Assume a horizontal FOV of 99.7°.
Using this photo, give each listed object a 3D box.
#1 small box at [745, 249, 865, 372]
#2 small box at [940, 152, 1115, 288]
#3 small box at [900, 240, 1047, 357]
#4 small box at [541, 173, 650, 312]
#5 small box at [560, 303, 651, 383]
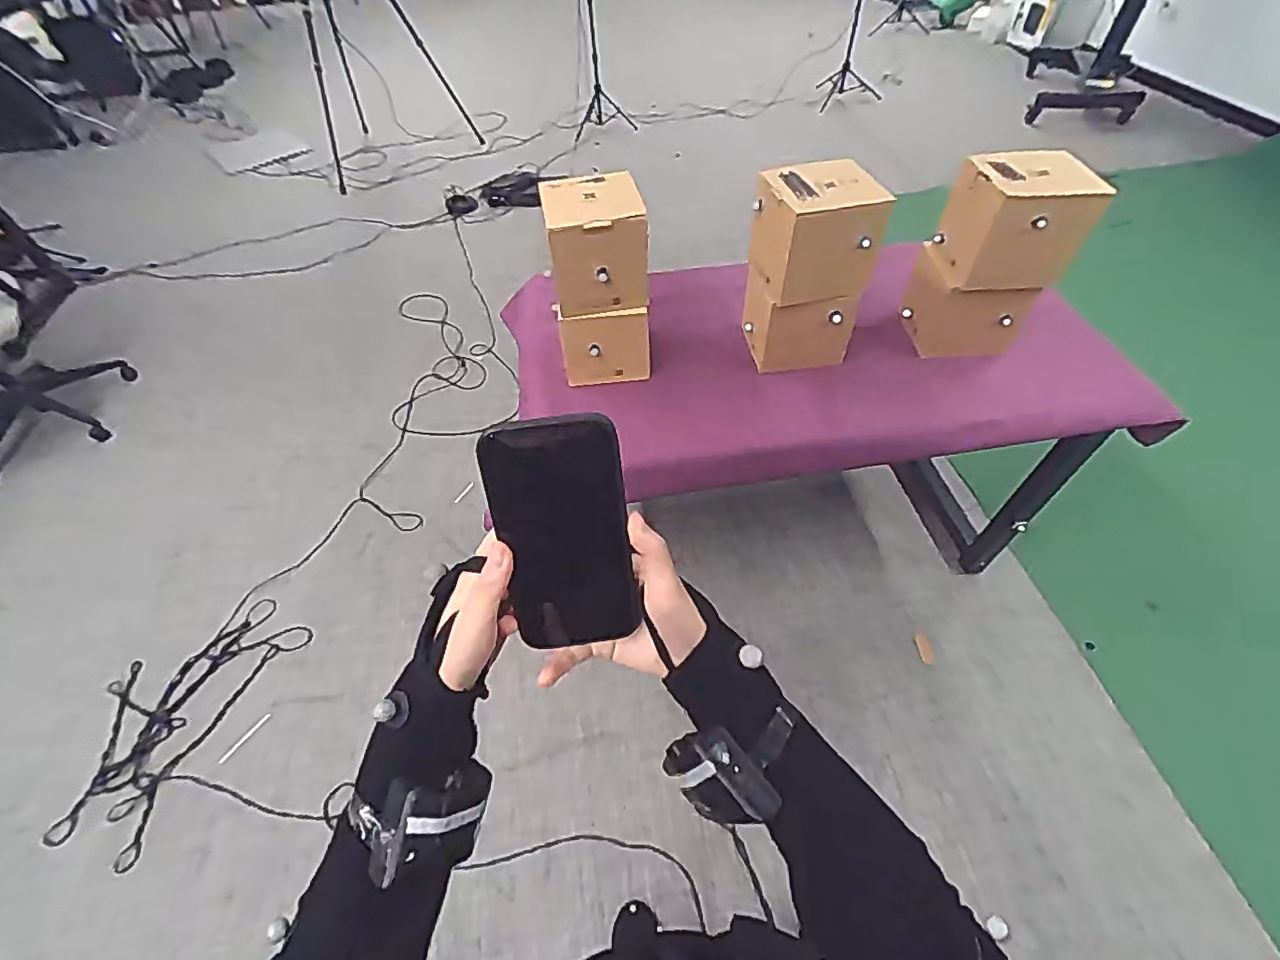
[{"bbox_3d":[0.322,-0.340,1.096,0.179,0.176,0.168,-6,52,-2],"label":"small box"},{"bbox_3d":[0.664,-0.456,0.960,0.179,0.176,0.168,-1,52,2],"label":"small box"},{"bbox_3d":[0.661,-0.366,1.097,0.179,0.176,0.168,-2,51,3],"label":"small box"},{"bbox_3d":[-0.077,-0.420,0.975,0.168,0.176,0.179,-10,53,-5],"label":"small box"},{"bbox_3d":[-0.068,-0.312,1.099,0.168,0.176,0.179,-6,52,-1],"label":"small box"}]
